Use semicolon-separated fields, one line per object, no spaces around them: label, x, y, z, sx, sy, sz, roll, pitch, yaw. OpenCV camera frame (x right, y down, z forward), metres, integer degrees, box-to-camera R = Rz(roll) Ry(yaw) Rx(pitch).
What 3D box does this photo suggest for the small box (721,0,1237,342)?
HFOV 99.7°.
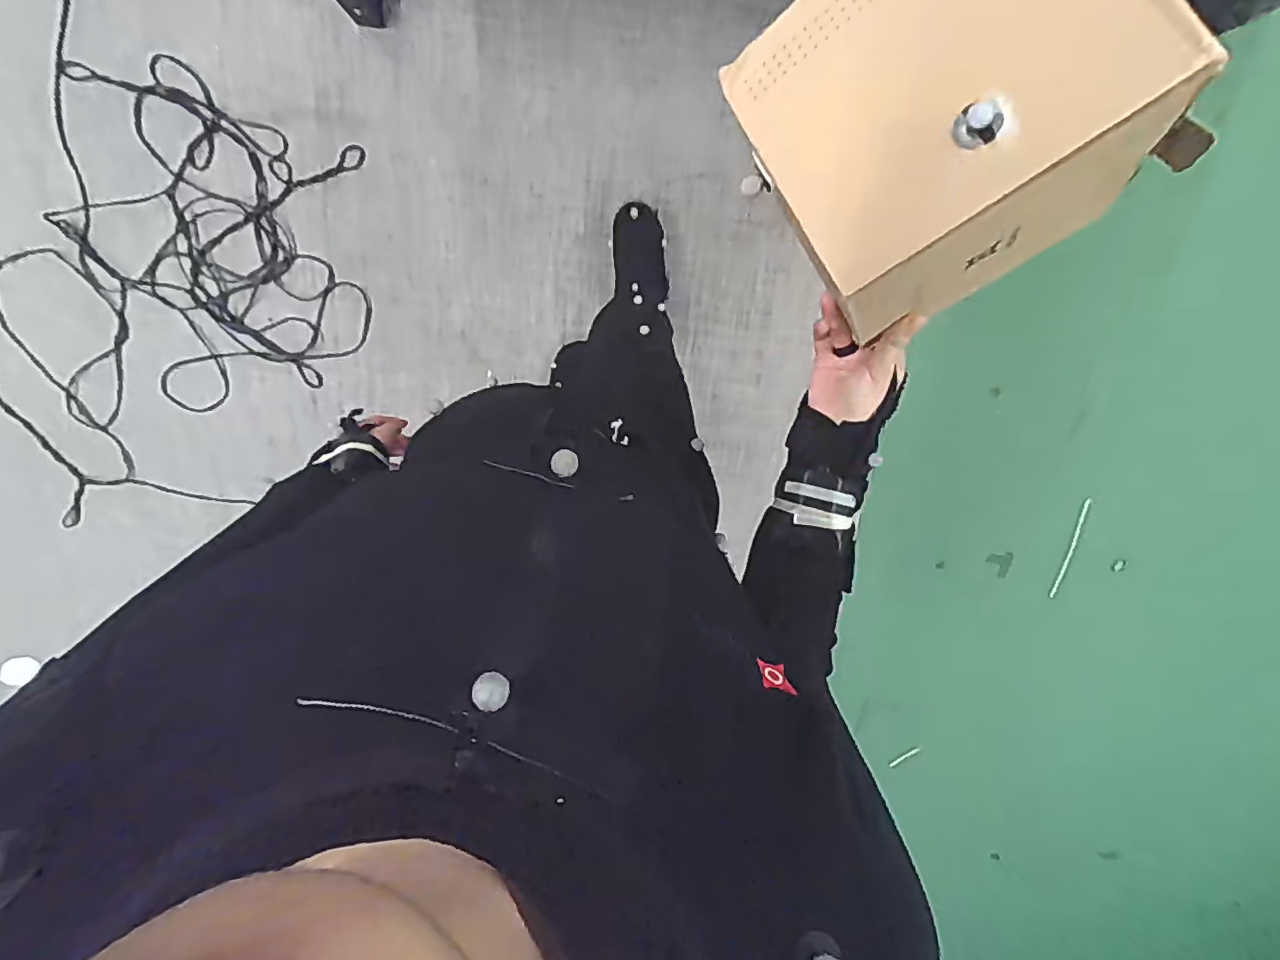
small box;0.180;-0.219;0.342;0.179;0.168;0.176;-30;78;25
